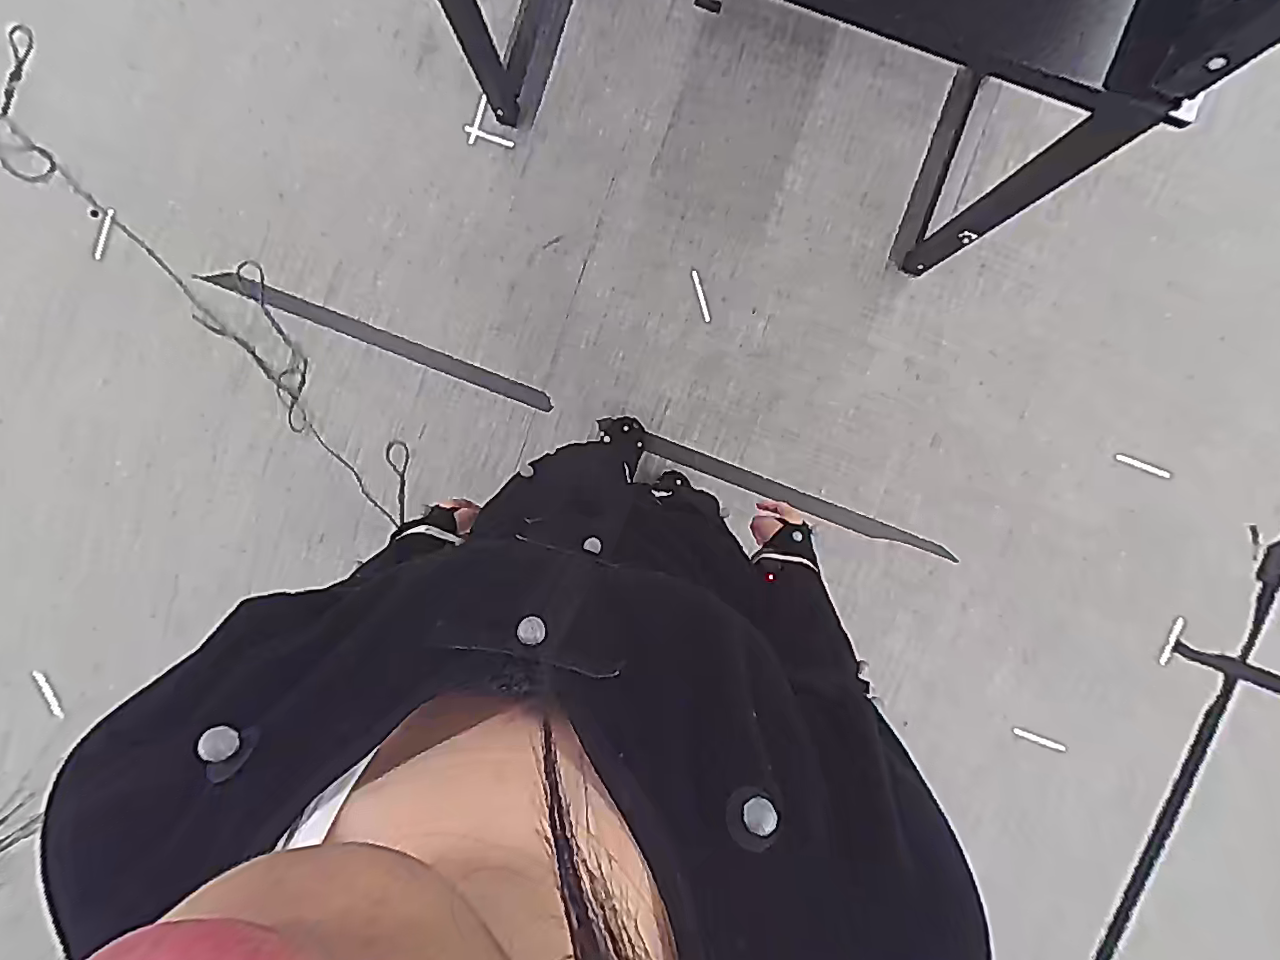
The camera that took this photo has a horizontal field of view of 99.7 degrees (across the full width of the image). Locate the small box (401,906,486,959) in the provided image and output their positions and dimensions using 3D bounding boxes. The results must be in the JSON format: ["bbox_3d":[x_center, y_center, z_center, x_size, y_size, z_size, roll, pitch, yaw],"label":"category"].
[{"bbox_3d":[-0.482,1.196,1.316,0.168,0.176,0.179,7,94,-1],"label":"small box"}]
